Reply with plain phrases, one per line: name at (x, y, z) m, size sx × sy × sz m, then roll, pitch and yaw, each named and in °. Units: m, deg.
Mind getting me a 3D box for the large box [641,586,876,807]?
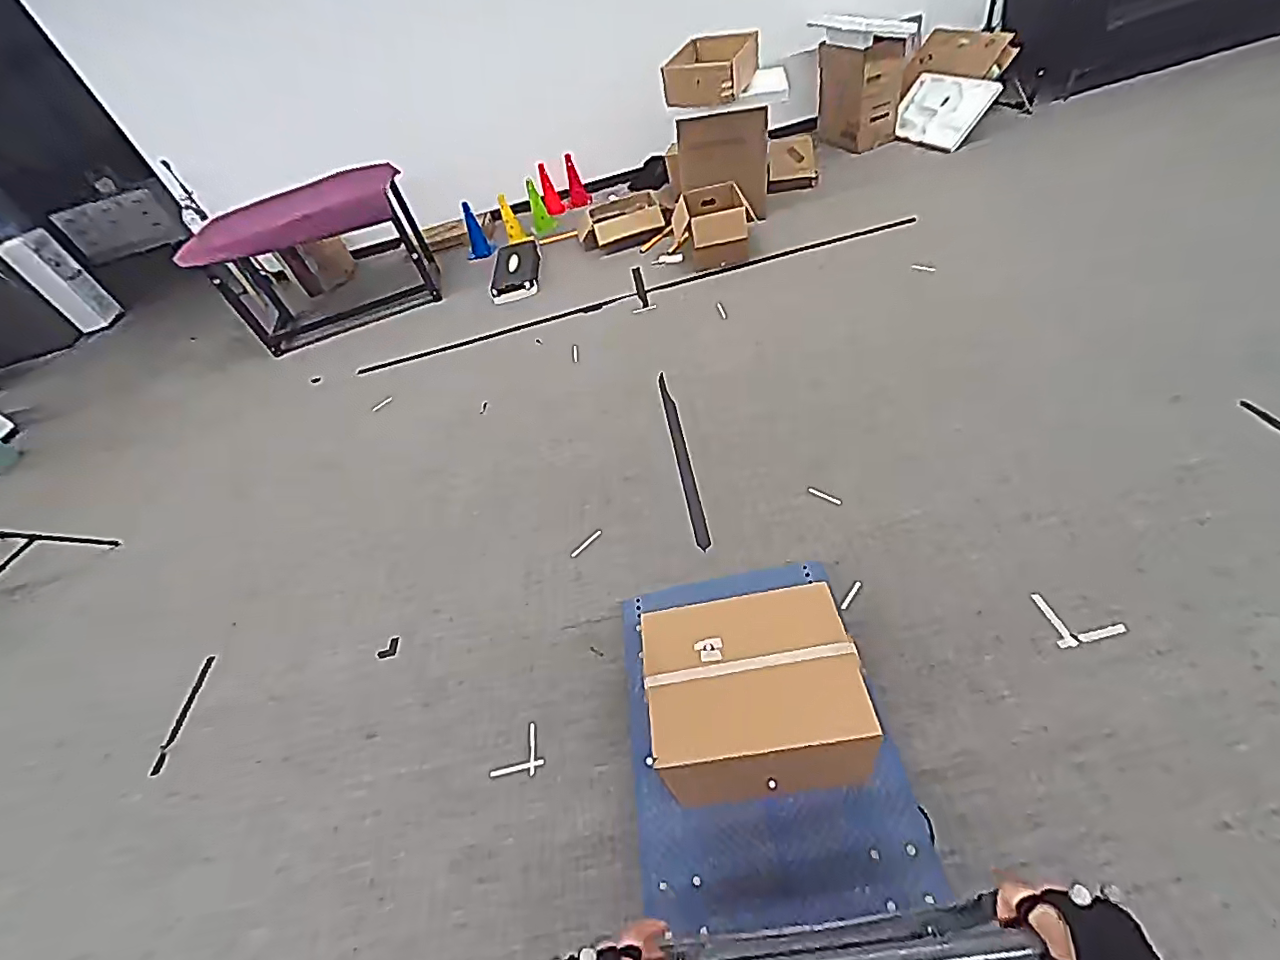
large box at (0.243, 0.475, 1.170) m, size 0.408 × 0.320 × 0.320 m, roll -13°, pitch 45°, yaw 6°
